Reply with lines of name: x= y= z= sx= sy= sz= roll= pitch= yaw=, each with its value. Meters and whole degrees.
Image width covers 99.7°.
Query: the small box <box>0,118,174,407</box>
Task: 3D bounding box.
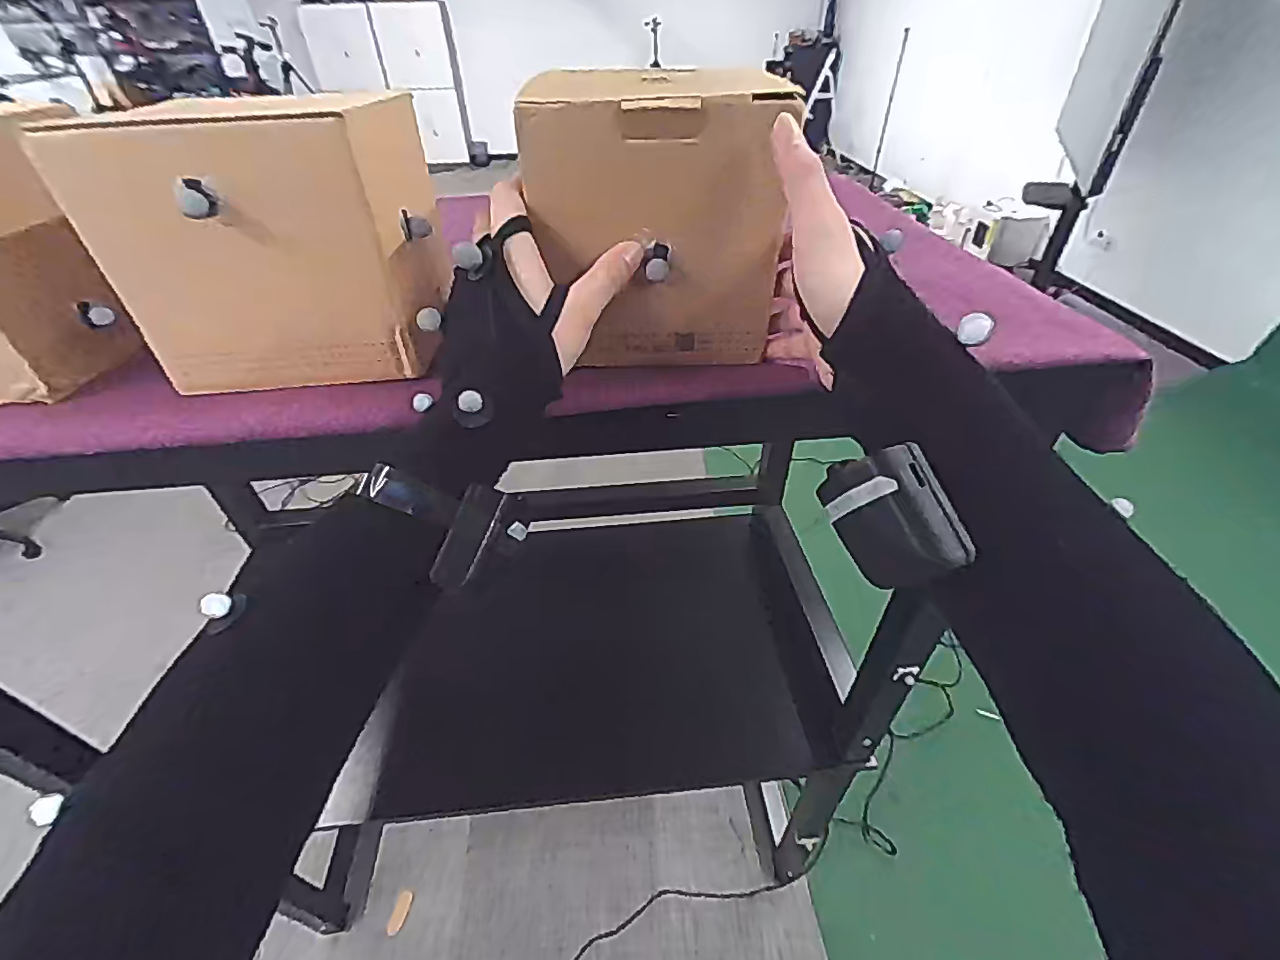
small box: x=-0.505 y=-0.165 z=0.410 sx=0.179 sy=0.176 sz=0.168 roll=-2 pitch=39 yaw=-2

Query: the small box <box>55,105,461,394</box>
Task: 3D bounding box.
small box: x=-0.253 y=-0.182 z=0.423 sx=0.179 sy=0.176 sz=0.168 roll=-5 pitch=38 yaw=-3
